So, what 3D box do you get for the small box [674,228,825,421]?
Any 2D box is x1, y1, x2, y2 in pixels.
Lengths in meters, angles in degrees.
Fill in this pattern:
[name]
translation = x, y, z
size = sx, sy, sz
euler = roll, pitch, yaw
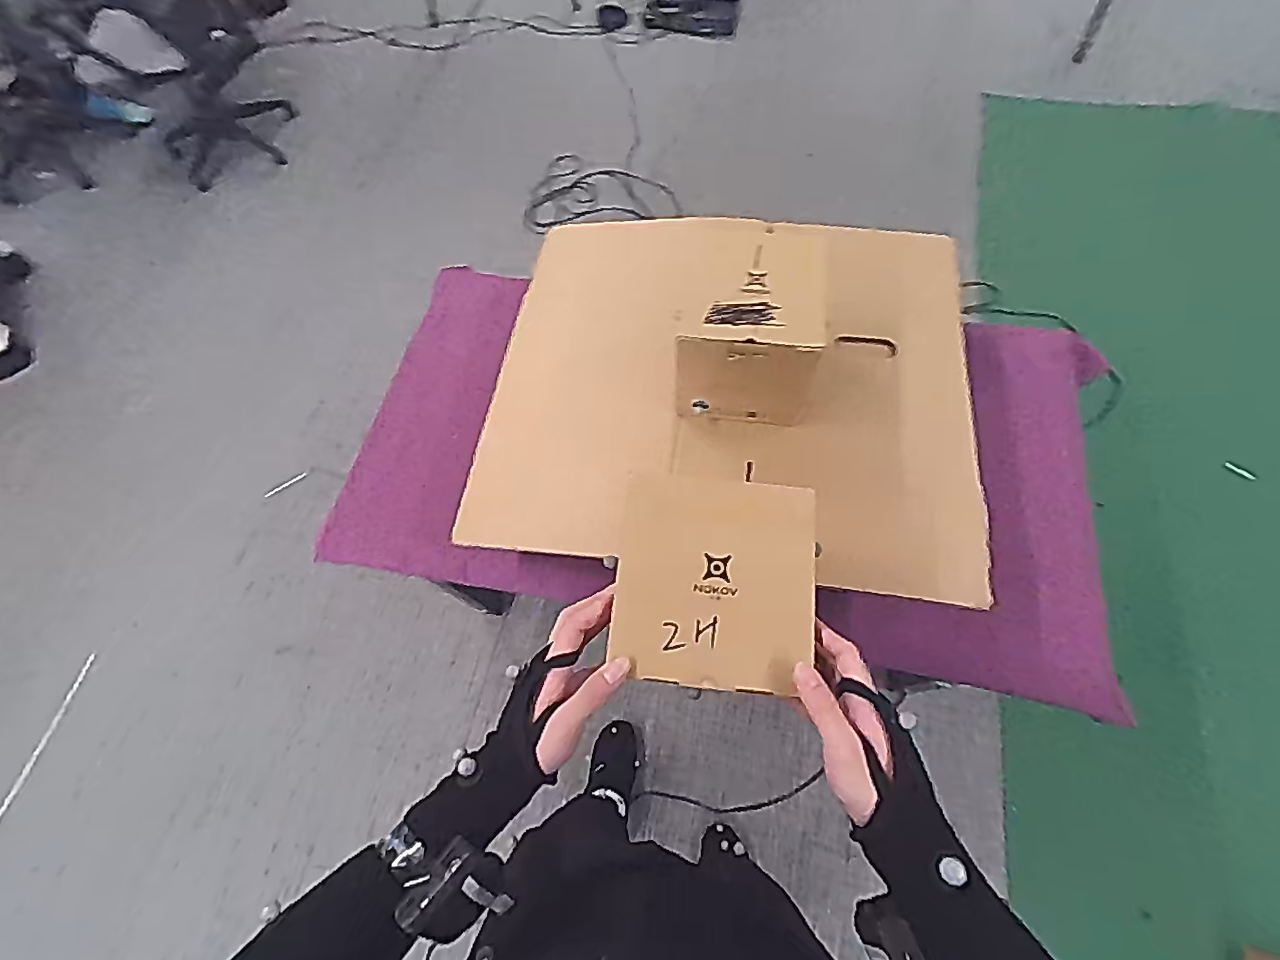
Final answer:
[small box]
translation = 0.136, -0.194, 0.705
size = 0.168, 0.176, 0.179
euler = 7, 65, 6
